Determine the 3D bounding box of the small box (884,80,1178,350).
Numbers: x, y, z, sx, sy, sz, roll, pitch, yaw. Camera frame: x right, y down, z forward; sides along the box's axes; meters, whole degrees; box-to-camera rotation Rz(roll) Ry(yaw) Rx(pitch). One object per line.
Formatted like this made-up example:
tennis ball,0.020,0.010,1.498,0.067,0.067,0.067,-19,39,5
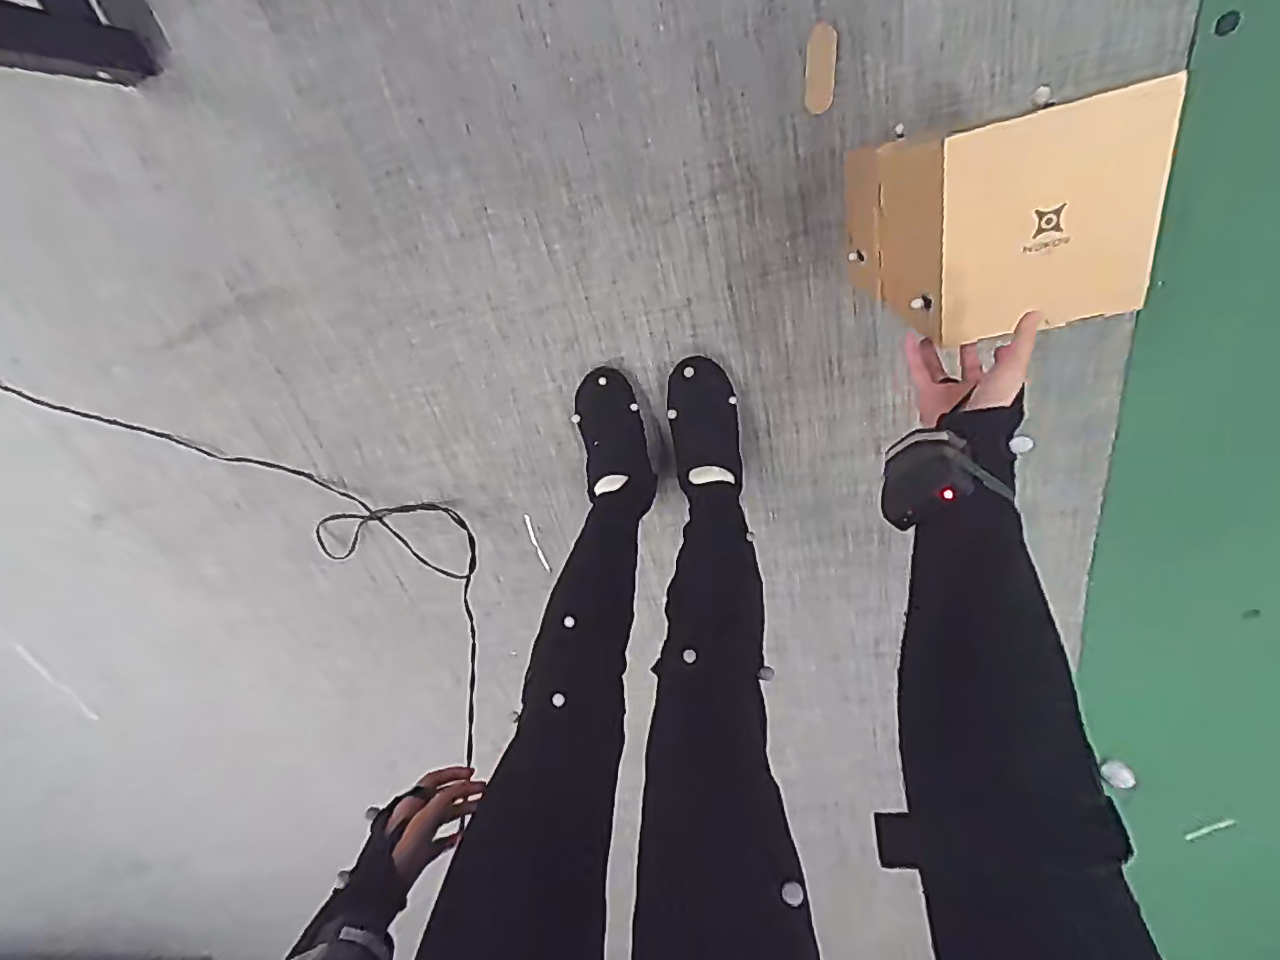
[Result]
small box,0.344,-0.247,0.520,0.168,0.176,0.179,-10,119,12

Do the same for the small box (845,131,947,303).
small box,0.355,-0.327,0.660,0.179,0.176,0.168,-7,118,10
